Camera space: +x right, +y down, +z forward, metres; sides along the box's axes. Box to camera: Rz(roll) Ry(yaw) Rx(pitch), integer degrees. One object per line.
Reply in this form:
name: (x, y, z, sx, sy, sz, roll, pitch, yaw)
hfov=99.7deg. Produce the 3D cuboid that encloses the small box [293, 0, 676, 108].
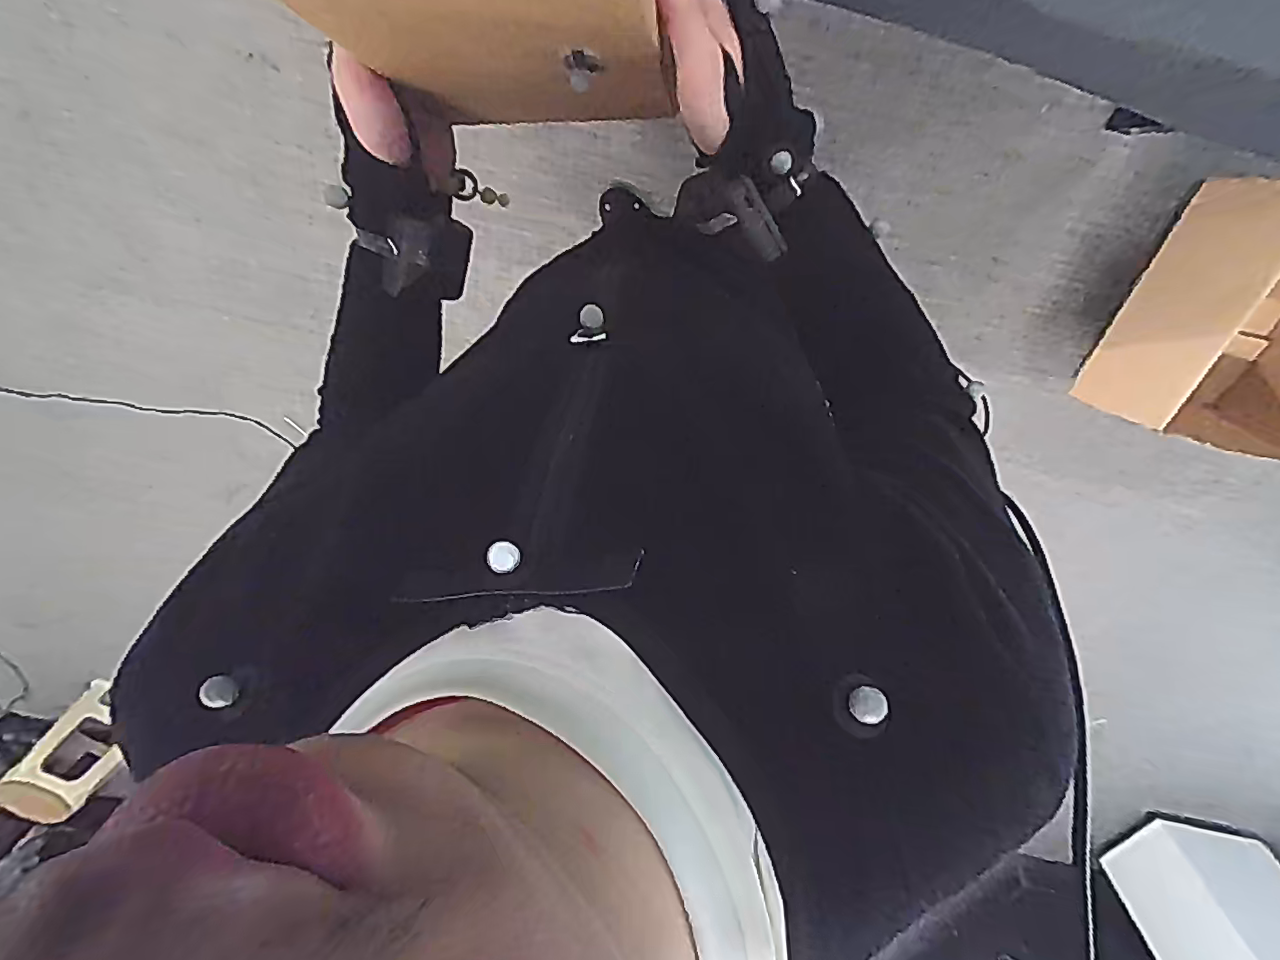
small box: (-0.071, -0.314, 0.273, 0.179, 0.176, 0.168, 4, 105, 9)
